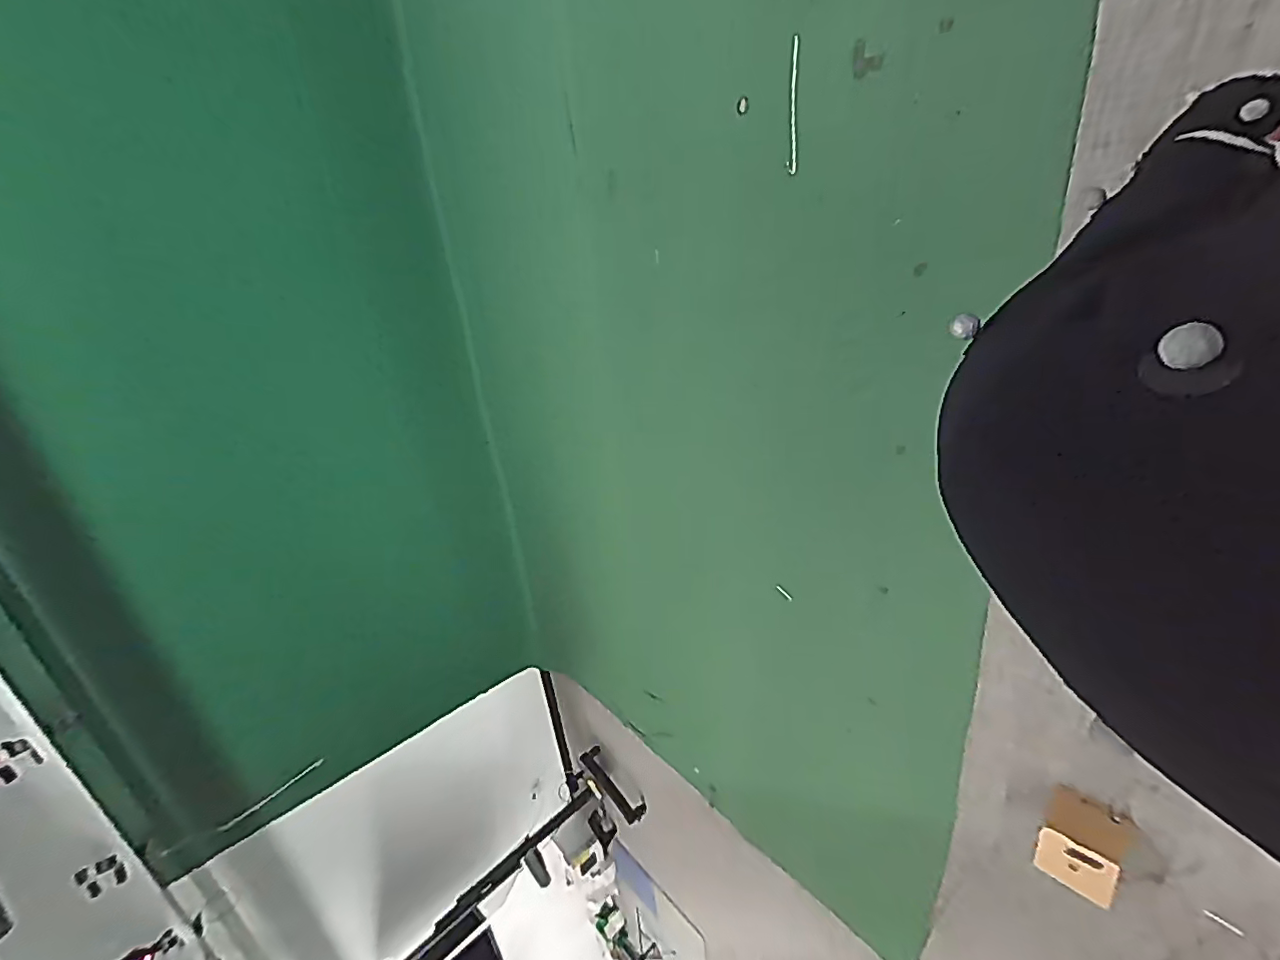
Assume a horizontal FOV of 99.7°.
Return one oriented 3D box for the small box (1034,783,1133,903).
[{"bbox_3d":[1.215,0.982,1.481,0.168,0.176,0.179,18,124,47],"label":"small box"}]
